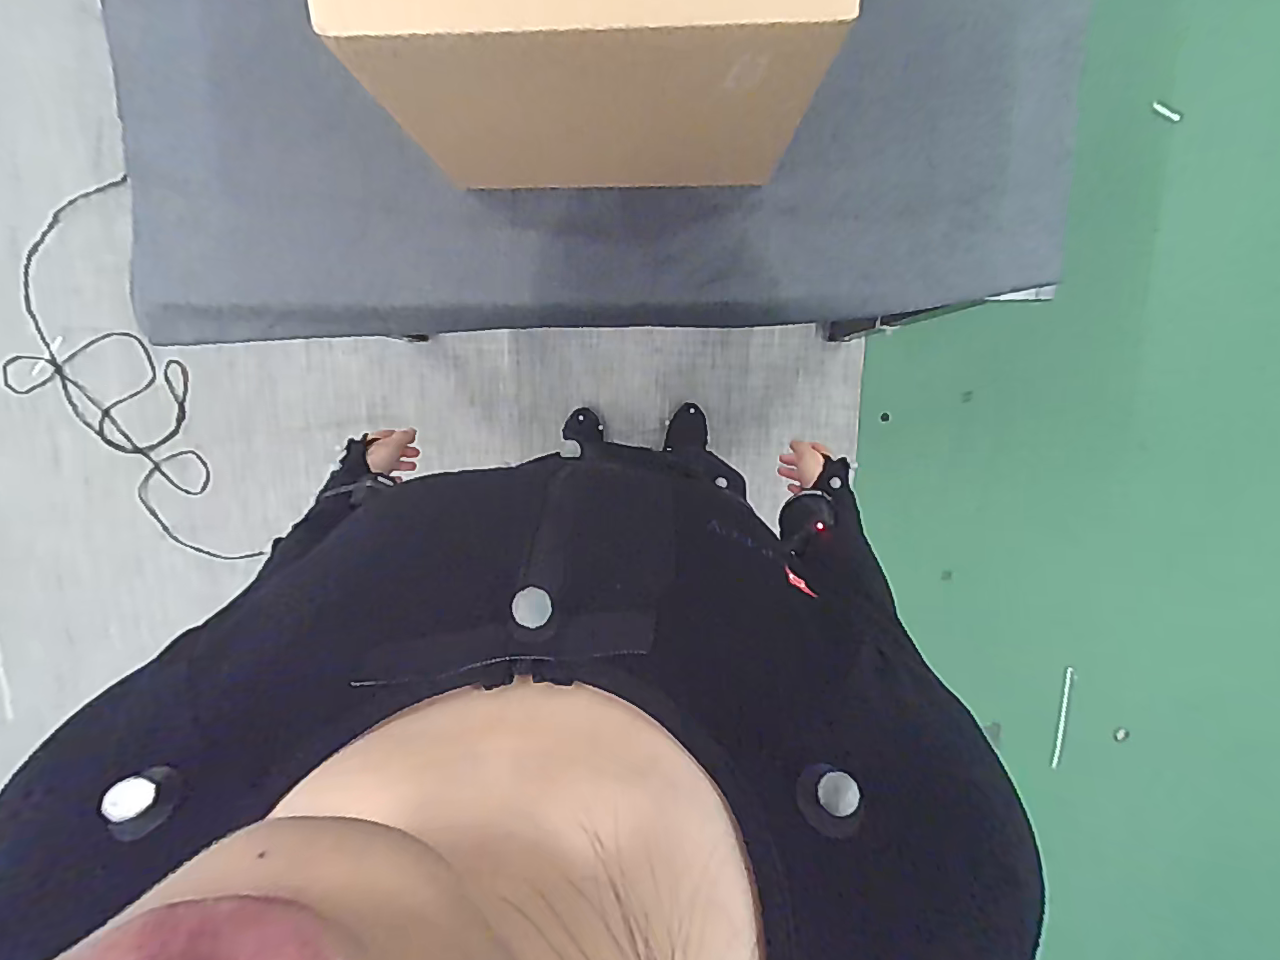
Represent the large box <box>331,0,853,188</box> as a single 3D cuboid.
[{"bbox_3d":[-0.041,-0.515,0.536,0.408,0.320,0.320,-1,100,1],"label":"large box"}]
